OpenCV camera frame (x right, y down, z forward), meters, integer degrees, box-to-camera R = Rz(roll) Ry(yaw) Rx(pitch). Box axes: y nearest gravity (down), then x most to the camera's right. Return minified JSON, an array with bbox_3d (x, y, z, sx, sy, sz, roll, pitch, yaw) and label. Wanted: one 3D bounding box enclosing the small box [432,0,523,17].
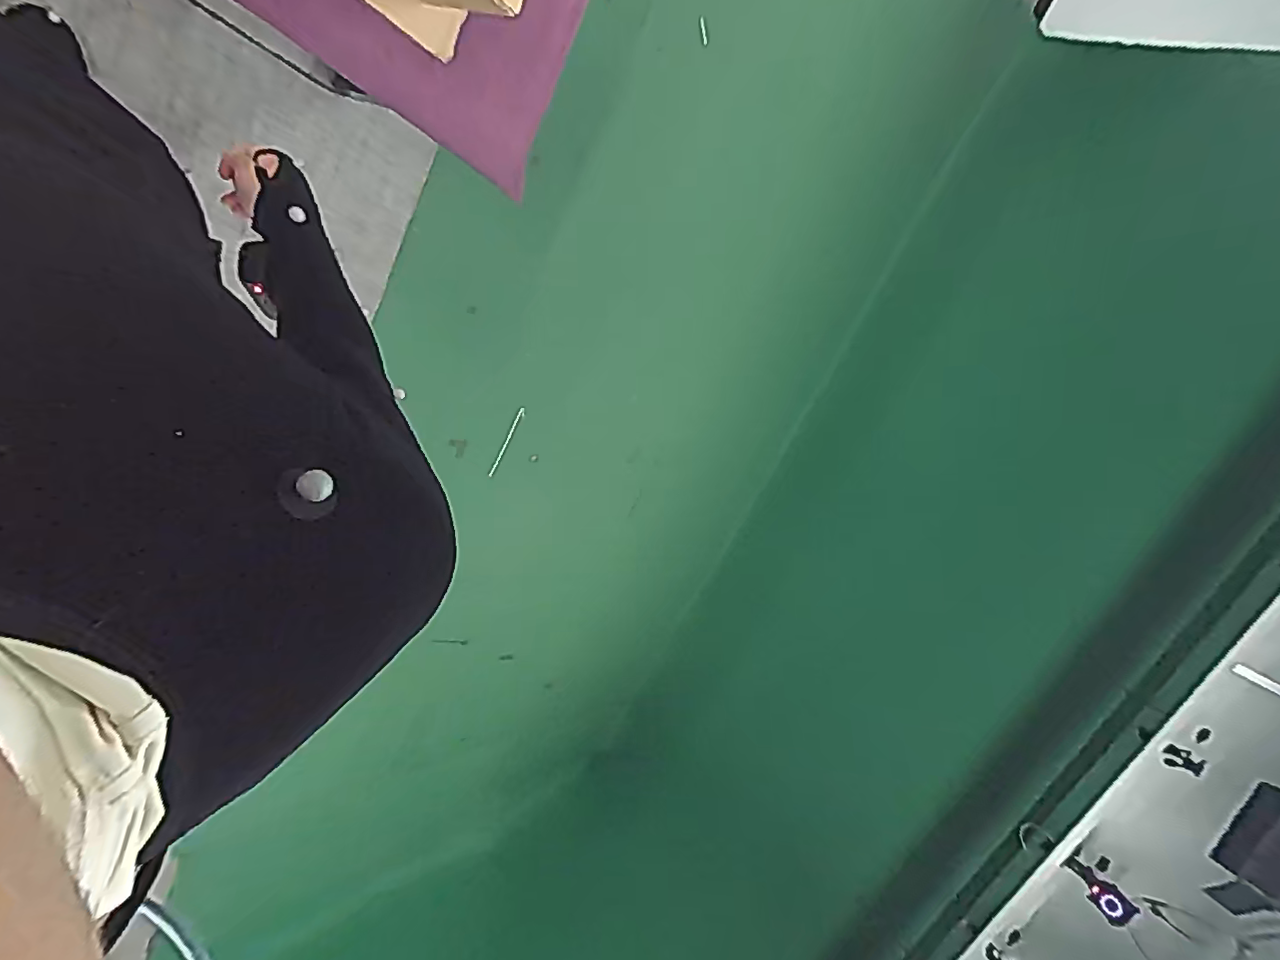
[{"bbox_3d":[-0.181,-0.551,0.460,0.168,0.176,0.179,2,118,-56],"label":"small box"}]
